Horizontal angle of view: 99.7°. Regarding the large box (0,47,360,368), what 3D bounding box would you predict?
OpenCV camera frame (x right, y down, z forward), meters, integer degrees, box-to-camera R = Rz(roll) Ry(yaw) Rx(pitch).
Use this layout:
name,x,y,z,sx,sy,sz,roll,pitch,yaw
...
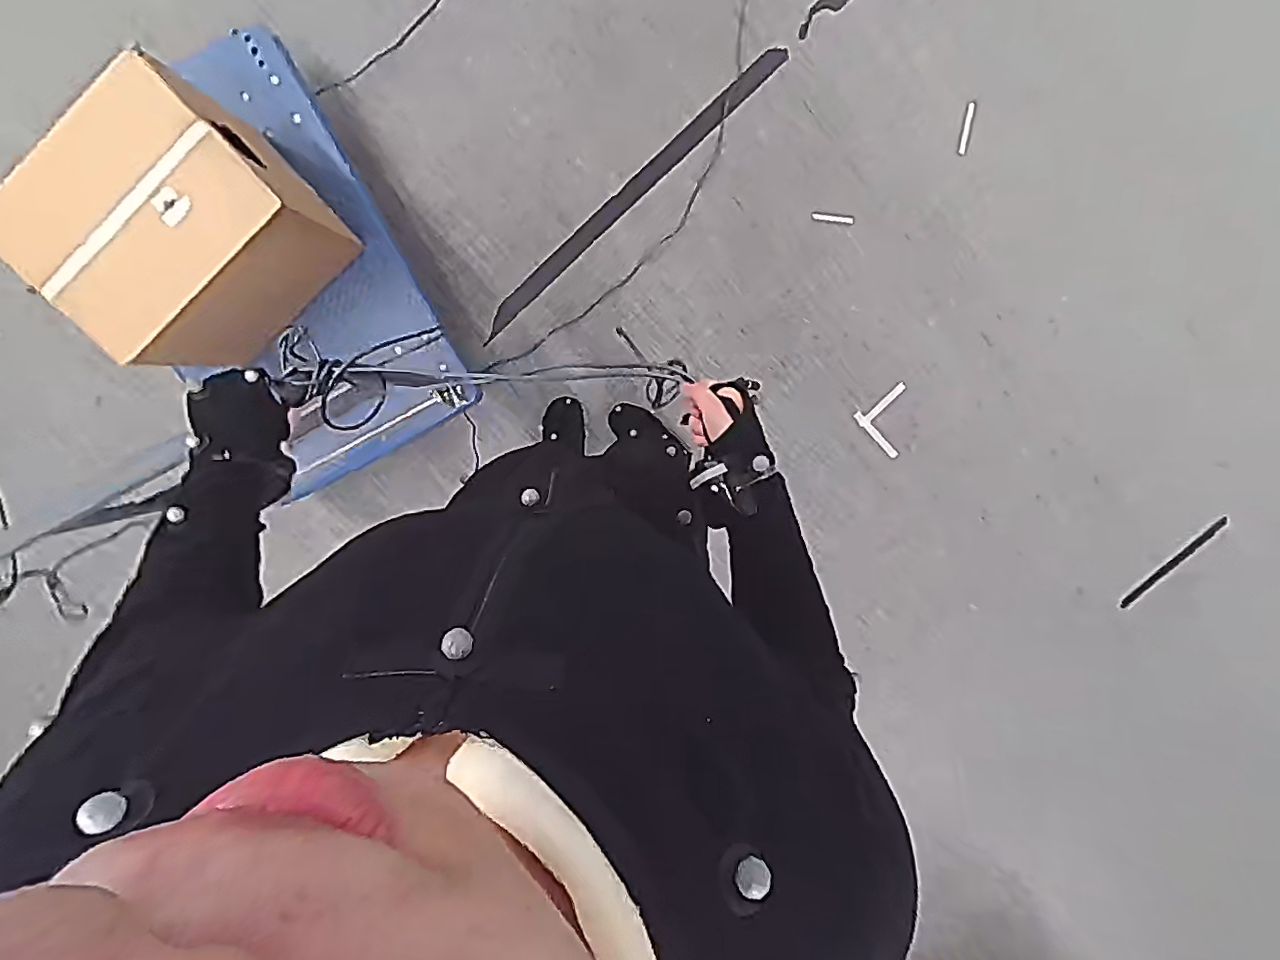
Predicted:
name,x,y,z,sx,sy,sz,roll,pitch,yaw
large box,-0.847,-0.466,1.035,0.408,0.320,0.320,-42,100,4
